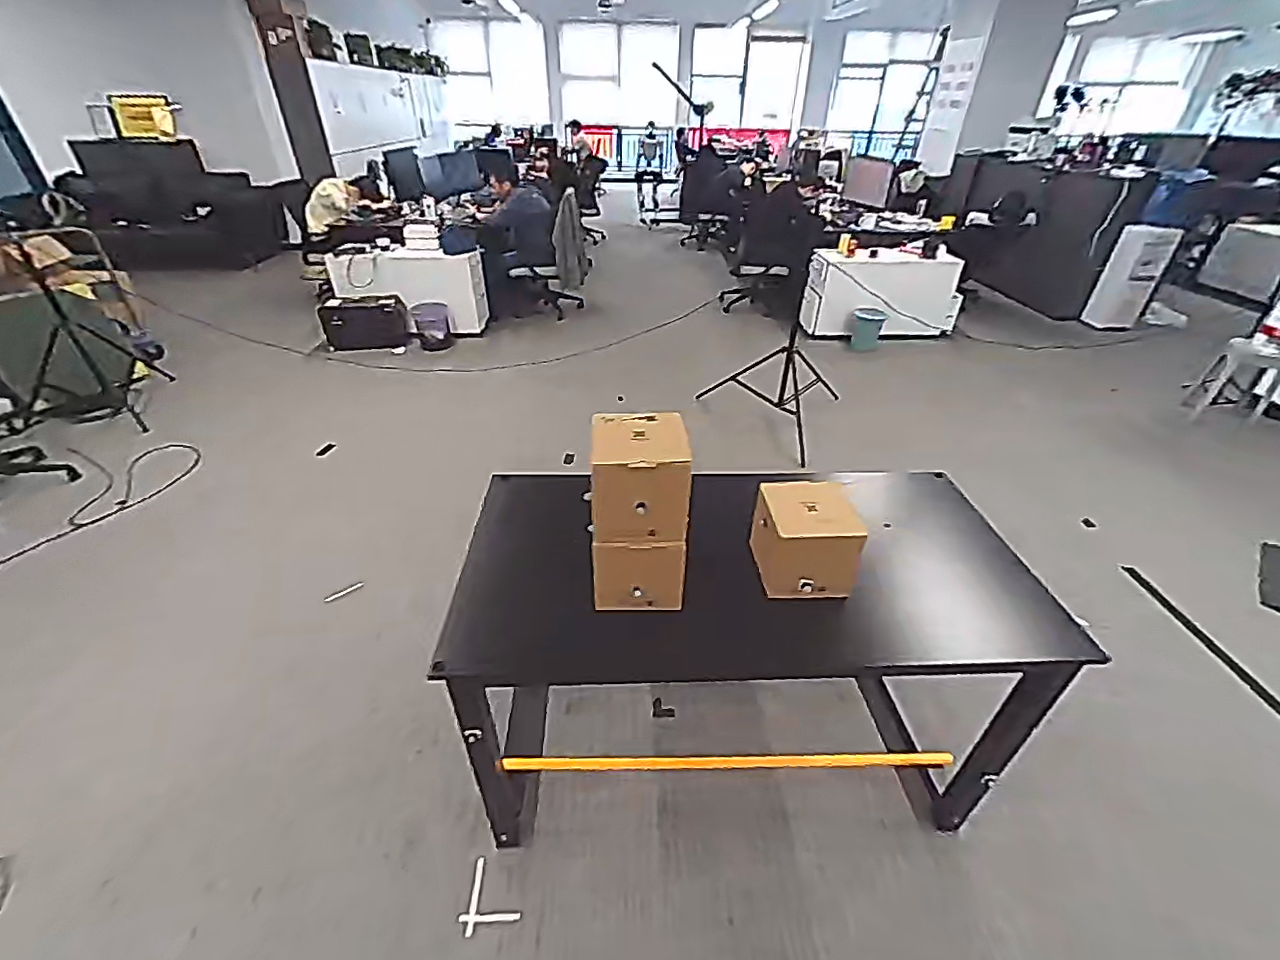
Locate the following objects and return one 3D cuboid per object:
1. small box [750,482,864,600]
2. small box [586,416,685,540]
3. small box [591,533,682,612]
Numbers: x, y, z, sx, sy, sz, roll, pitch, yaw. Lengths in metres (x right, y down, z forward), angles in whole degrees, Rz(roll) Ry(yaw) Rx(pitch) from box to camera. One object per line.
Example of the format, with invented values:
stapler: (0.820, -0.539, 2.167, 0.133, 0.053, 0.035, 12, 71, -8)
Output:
small box: (0.328, 0.122, 1.106, 0.168, 0.176, 0.179, -3, 35, -2)
small box: (-0.010, -0.002, 0.989, 0.168, 0.176, 0.179, -2, 35, -3)
small box: (-0.008, 0.139, 1.074, 0.168, 0.176, 0.179, 0, 34, -1)
